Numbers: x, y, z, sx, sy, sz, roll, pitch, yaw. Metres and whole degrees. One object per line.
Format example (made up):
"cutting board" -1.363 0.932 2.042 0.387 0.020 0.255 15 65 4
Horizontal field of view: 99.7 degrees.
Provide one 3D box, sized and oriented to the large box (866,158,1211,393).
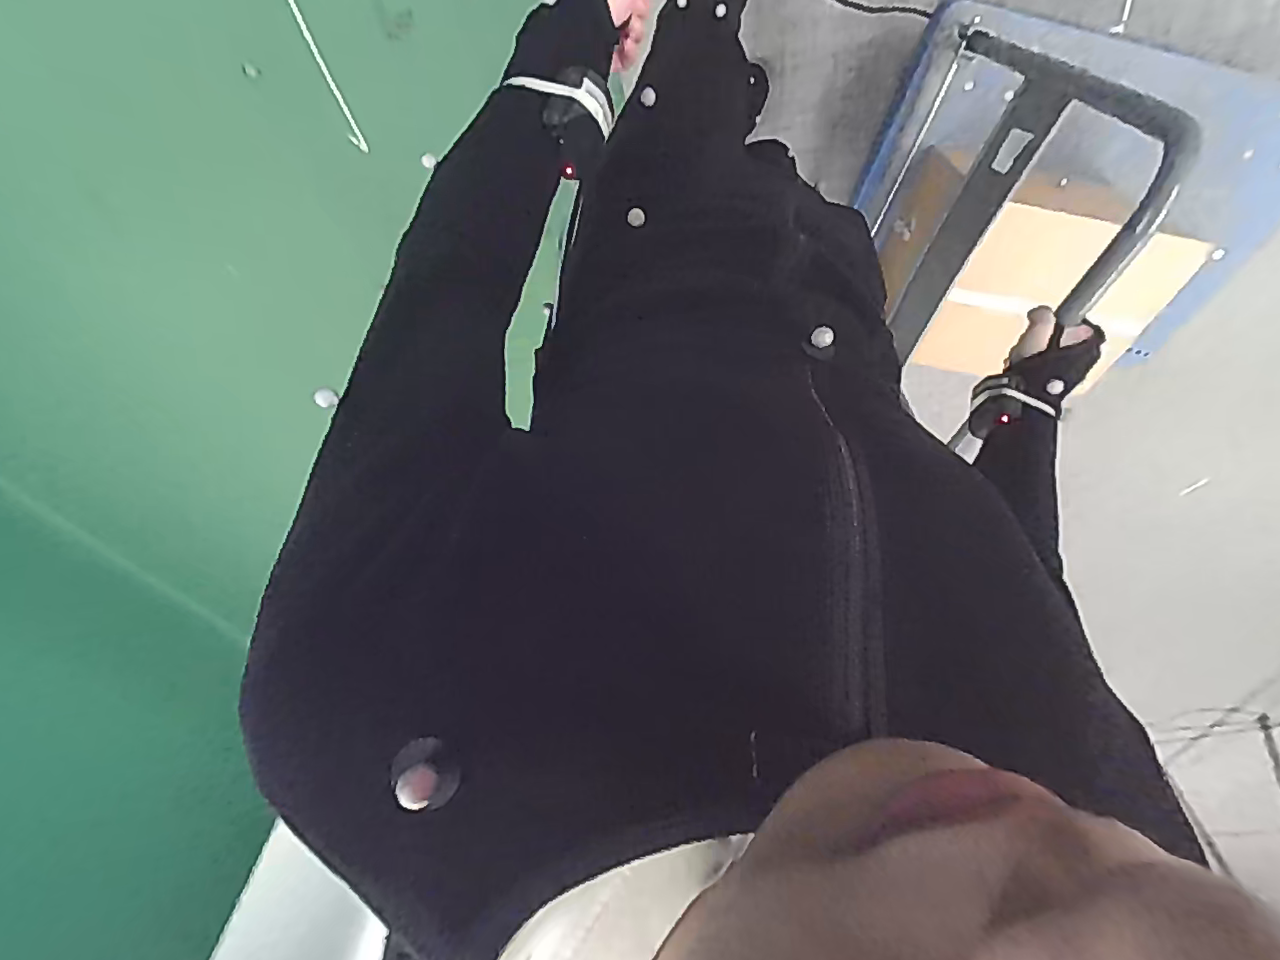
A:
"large box" 0.746 -0.417 1.101 0.408 0.320 0.320 9 135 -4
